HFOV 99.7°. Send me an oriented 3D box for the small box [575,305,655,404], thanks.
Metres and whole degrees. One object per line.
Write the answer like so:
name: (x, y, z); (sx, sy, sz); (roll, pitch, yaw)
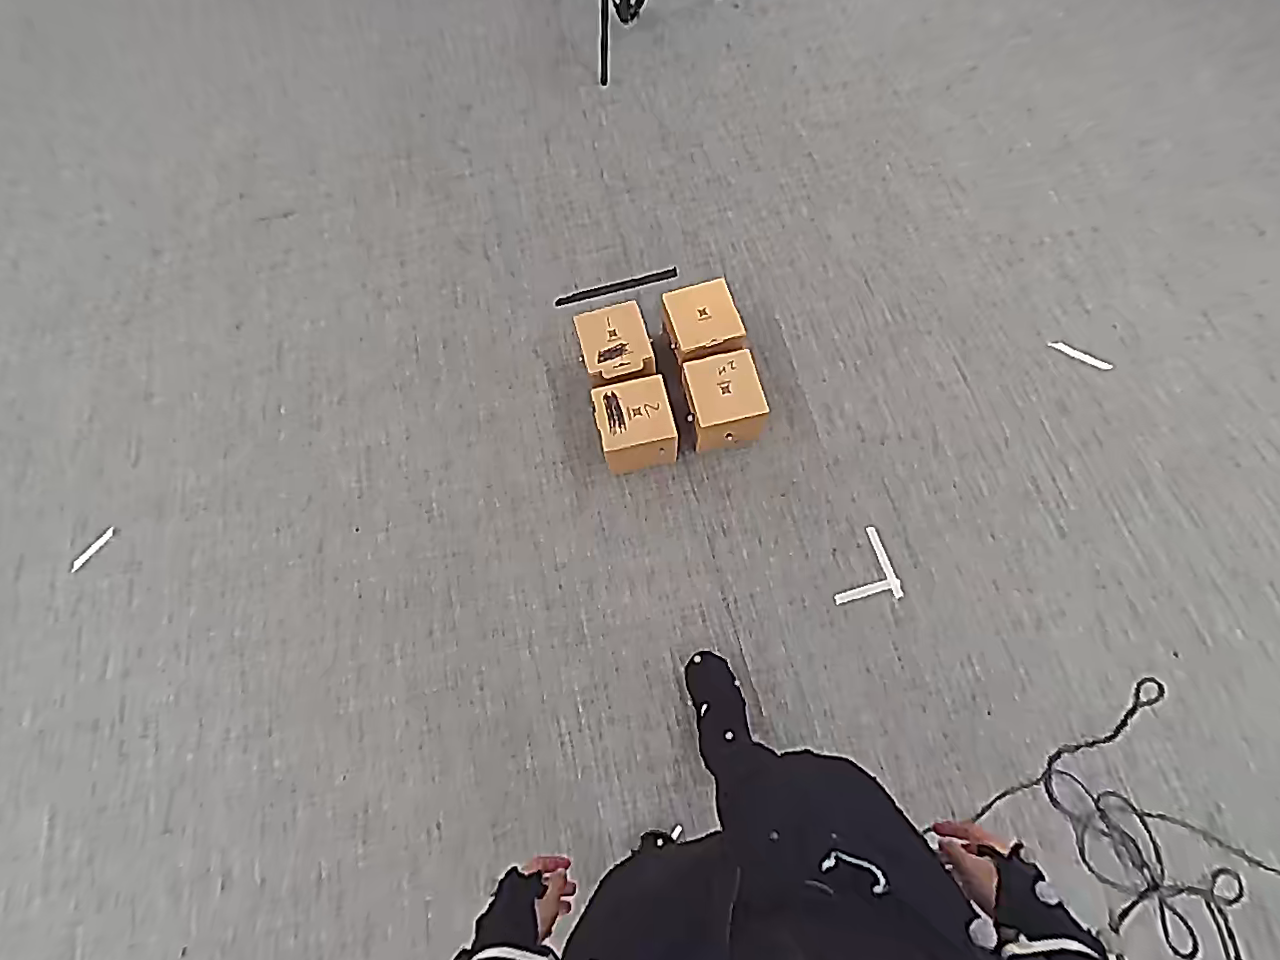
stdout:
small box: (-0.060, -0.314, 1.397); (0.168, 0.176, 0.179); (-15, 69, -2)
